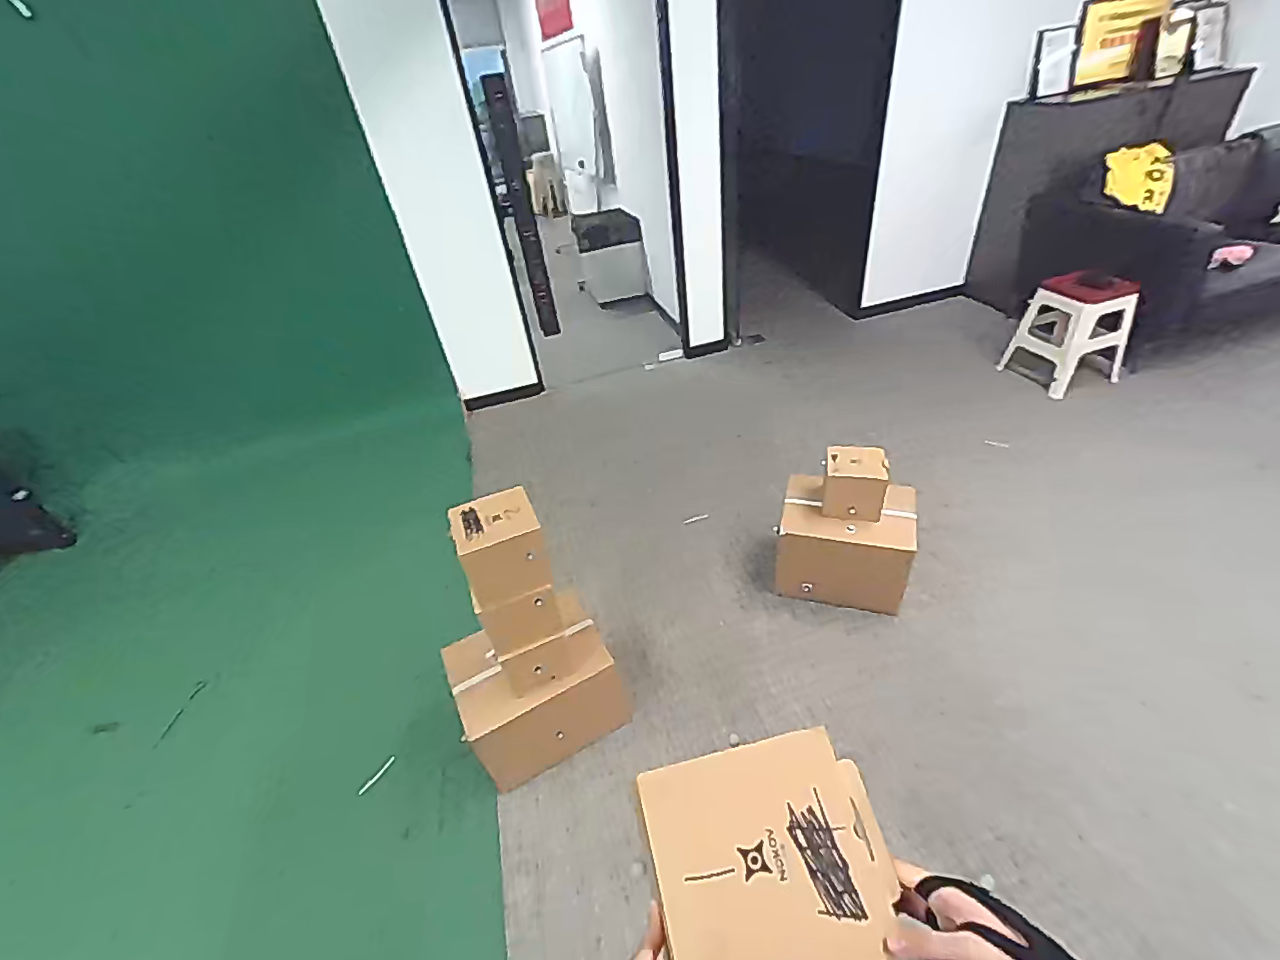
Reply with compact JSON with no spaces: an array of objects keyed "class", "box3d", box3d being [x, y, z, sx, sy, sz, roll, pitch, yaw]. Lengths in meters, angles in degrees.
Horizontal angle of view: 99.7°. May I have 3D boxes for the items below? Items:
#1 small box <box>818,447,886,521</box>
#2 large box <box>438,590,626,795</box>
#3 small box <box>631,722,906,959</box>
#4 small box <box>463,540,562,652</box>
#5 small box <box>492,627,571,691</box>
[{"class":"small box","box3d":[0.673,0.015,1.732,0.179,0.176,0.168,5,38,15]},{"class":"large box","box3d":[-0.300,0.598,1.550,0.408,0.320,0.320,-24,40,-18]},{"class":"small box","box3d":[0.094,0.334,0.494,0.179,0.176,0.168,-10,60,-9]},{"class":"small box","box3d":[-0.303,0.279,1.293,0.179,0.176,0.168,-18,39,-14]},{"class":"small box","box3d":[-0.287,0.411,1.386,0.168,0.176,0.179,-19,39,-15]}]
